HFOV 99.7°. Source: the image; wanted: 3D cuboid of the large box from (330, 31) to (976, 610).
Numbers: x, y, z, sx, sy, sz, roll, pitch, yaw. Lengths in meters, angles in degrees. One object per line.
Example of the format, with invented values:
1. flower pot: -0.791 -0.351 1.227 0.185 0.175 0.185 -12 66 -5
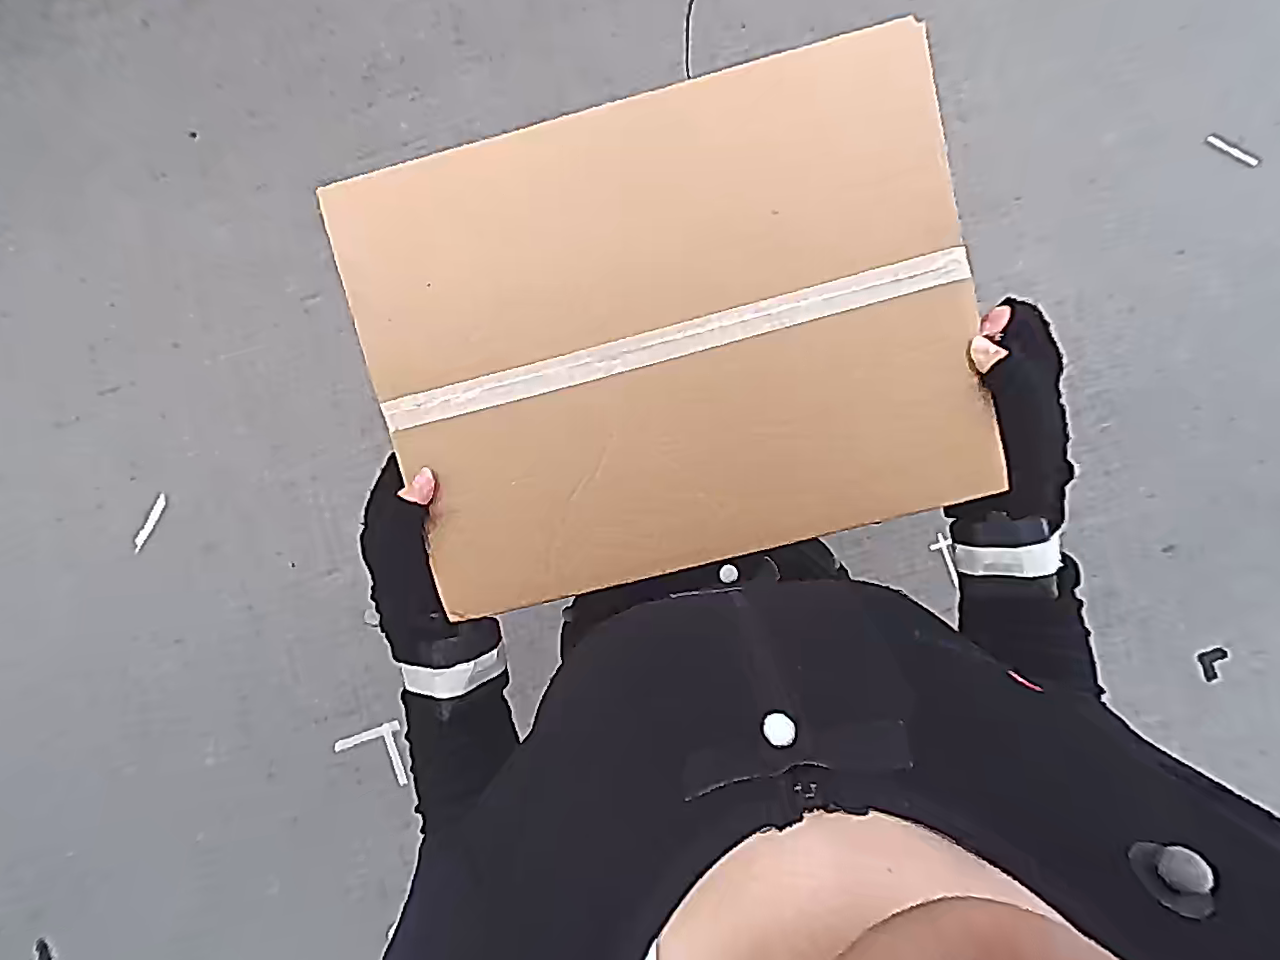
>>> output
1. large box: 0.018 -0.117 0.526 0.408 0.320 0.320 -14 96 3
